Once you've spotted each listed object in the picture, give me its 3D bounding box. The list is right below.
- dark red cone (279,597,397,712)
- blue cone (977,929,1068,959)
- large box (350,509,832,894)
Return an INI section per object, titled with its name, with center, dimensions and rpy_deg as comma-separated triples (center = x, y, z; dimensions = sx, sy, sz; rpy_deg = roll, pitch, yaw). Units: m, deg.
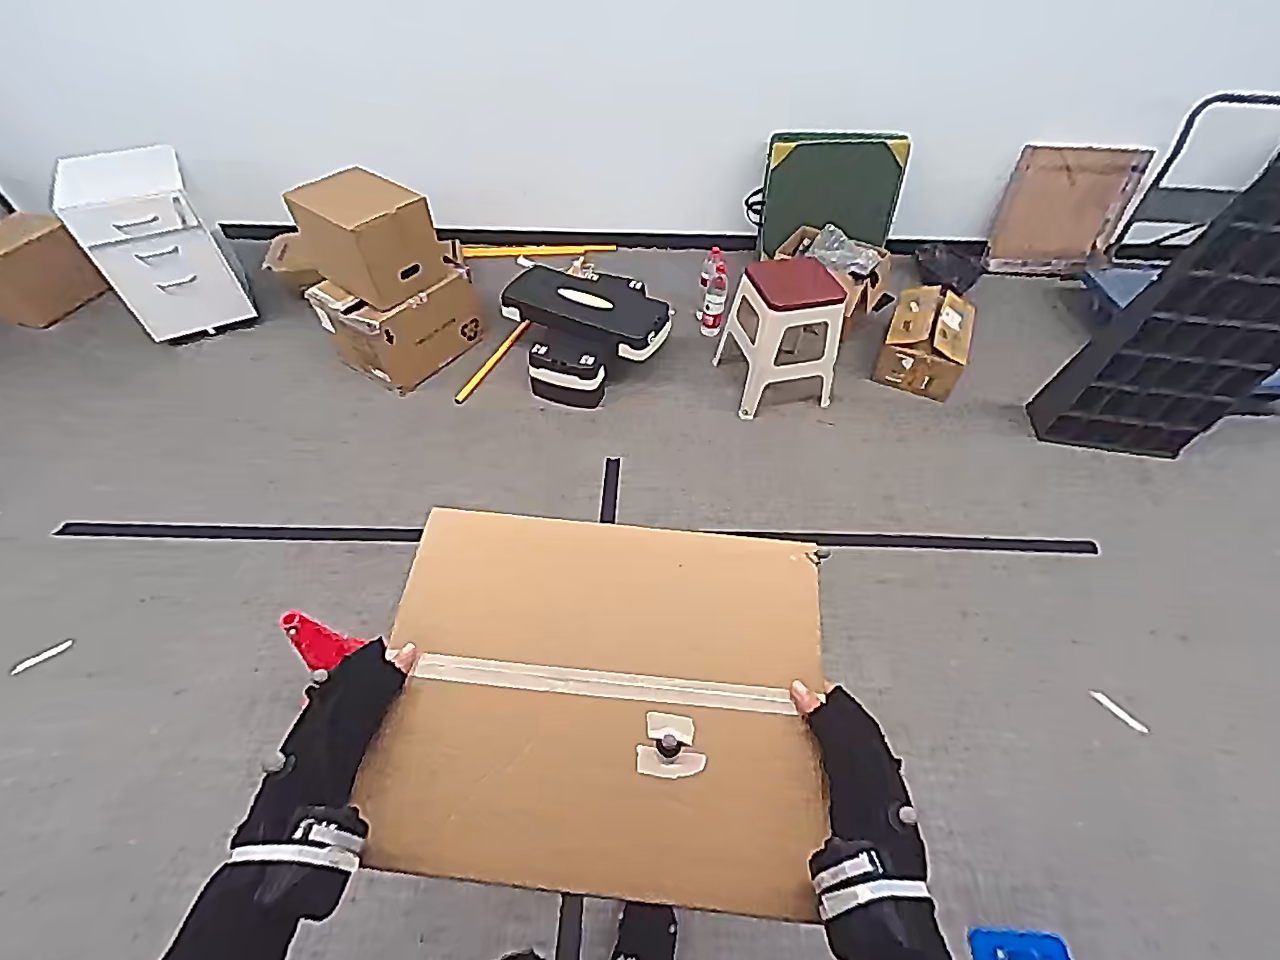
[dark red cone]
center = -0.758, 0.392, 1.296
dimensions = 0.201, 0.394, 0.202
rpy_deg = 7, 50, 3
[blue cone]
center = 0.790, 0.915, 0.950
dimensions = 0.192, 0.380, 0.193
rpy_deg = 5, 50, 1
[large box]
center = -0.033, 0.250, 0.637
dimensions = 0.408, 0.320, 0.320
rpy_deg = 5, 63, 2
